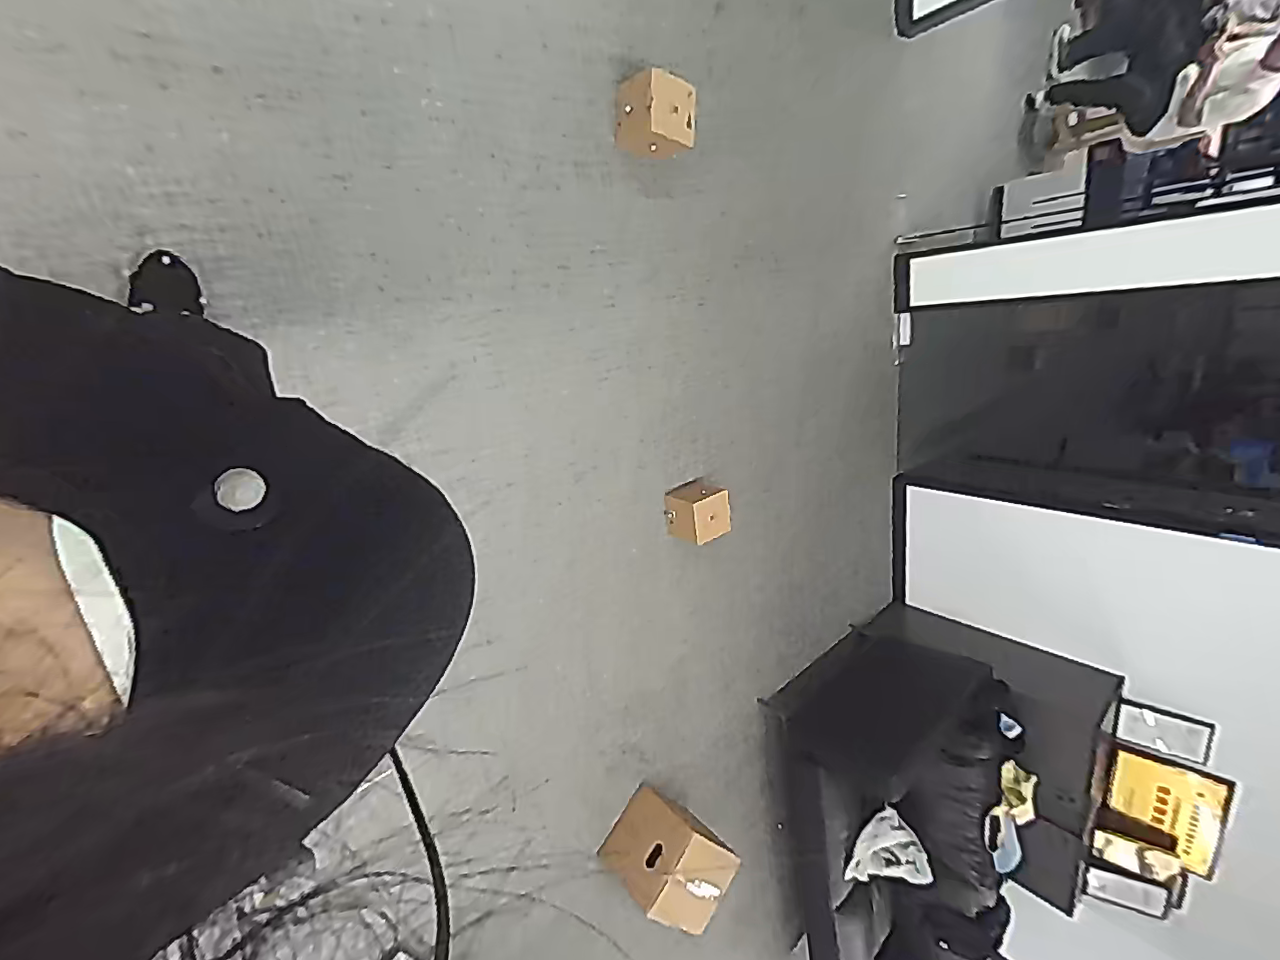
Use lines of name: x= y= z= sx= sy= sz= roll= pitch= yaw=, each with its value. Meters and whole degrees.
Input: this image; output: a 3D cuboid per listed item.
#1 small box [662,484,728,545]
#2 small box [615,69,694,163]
small box: x=0.208 y=0.122 z=2.040 sx=0.179 sy=0.176 sz=0.168 roll=-21 pitch=112 yaw=-33
small box: x=0.039 y=-1.079 z=1.622 sx=0.179 sy=0.176 sz=0.168 roll=-7 pitch=105 yaw=-38
